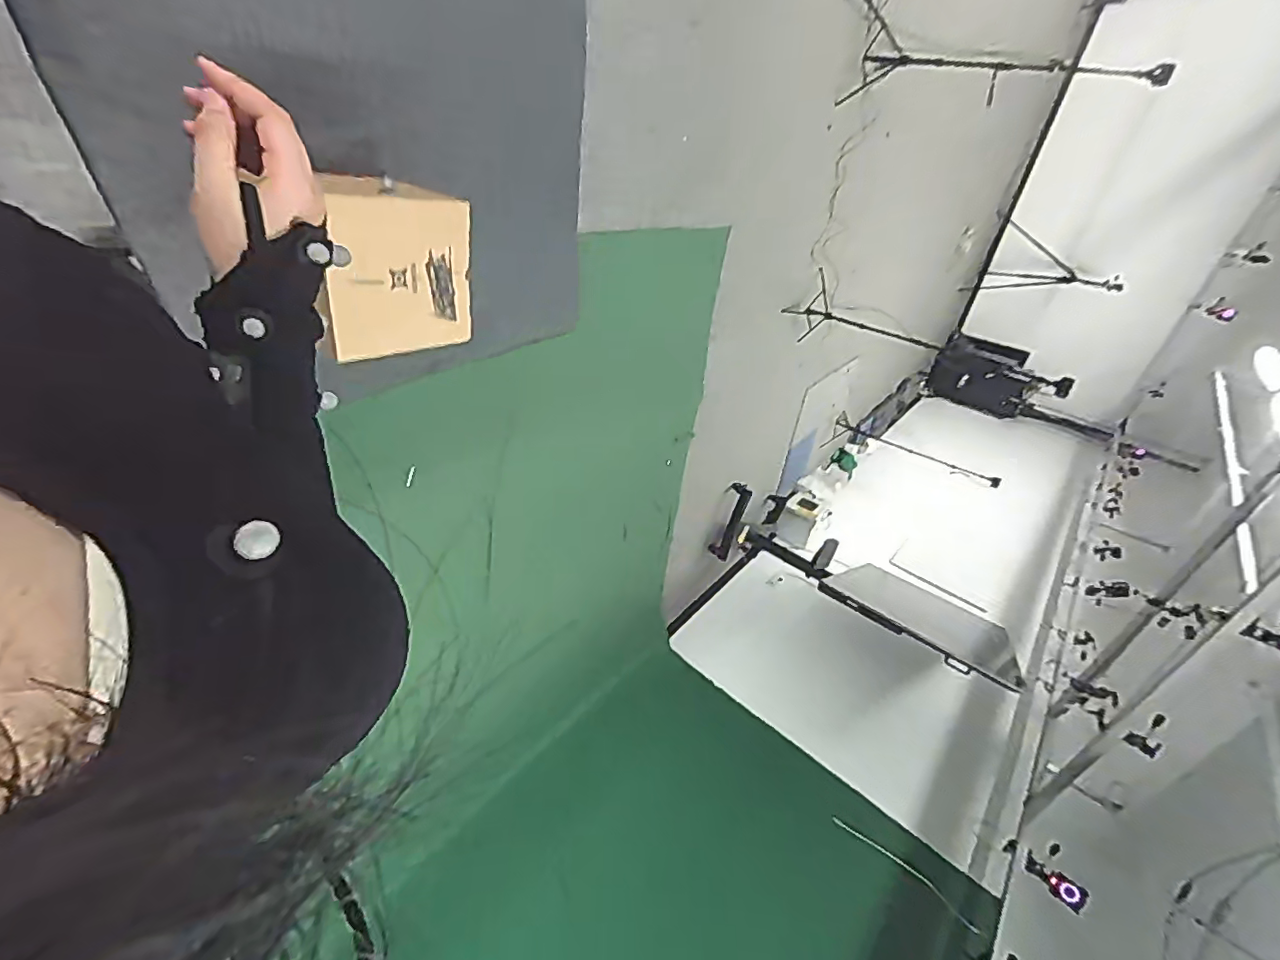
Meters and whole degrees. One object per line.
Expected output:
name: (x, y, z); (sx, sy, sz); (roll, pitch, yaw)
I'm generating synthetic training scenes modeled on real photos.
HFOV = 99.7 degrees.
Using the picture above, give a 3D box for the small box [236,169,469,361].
small box: (-0.324, -0.255, 0.632); (0.179, 0.176, 0.168); (-28, 136, -46)
